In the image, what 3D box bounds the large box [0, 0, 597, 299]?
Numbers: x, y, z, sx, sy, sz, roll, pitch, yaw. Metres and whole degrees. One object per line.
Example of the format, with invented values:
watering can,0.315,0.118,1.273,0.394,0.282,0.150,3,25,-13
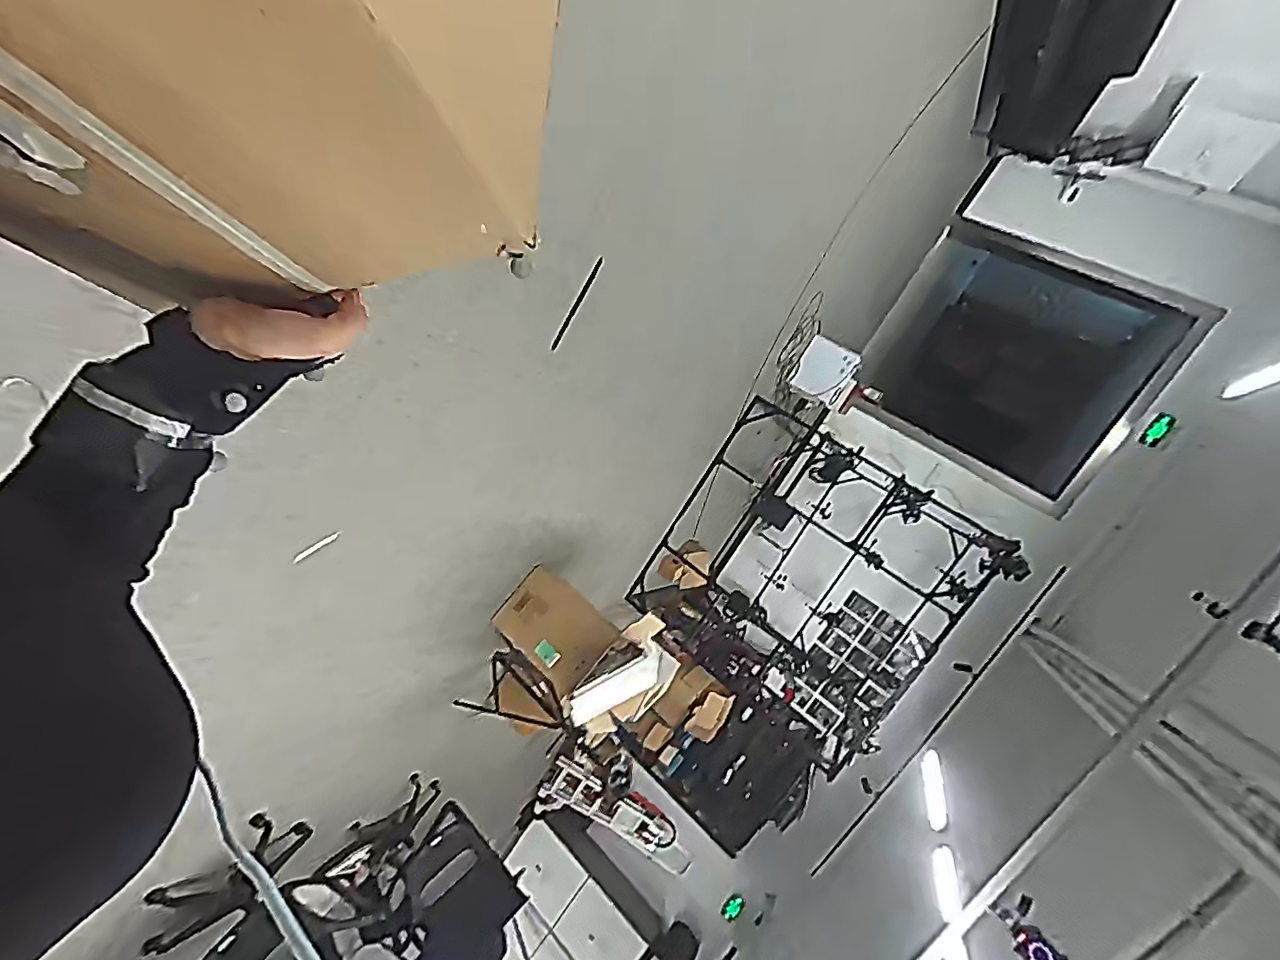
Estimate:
large box,-0.231,-0.338,0.215,0.408,0.320,0.320,42,49,-66
